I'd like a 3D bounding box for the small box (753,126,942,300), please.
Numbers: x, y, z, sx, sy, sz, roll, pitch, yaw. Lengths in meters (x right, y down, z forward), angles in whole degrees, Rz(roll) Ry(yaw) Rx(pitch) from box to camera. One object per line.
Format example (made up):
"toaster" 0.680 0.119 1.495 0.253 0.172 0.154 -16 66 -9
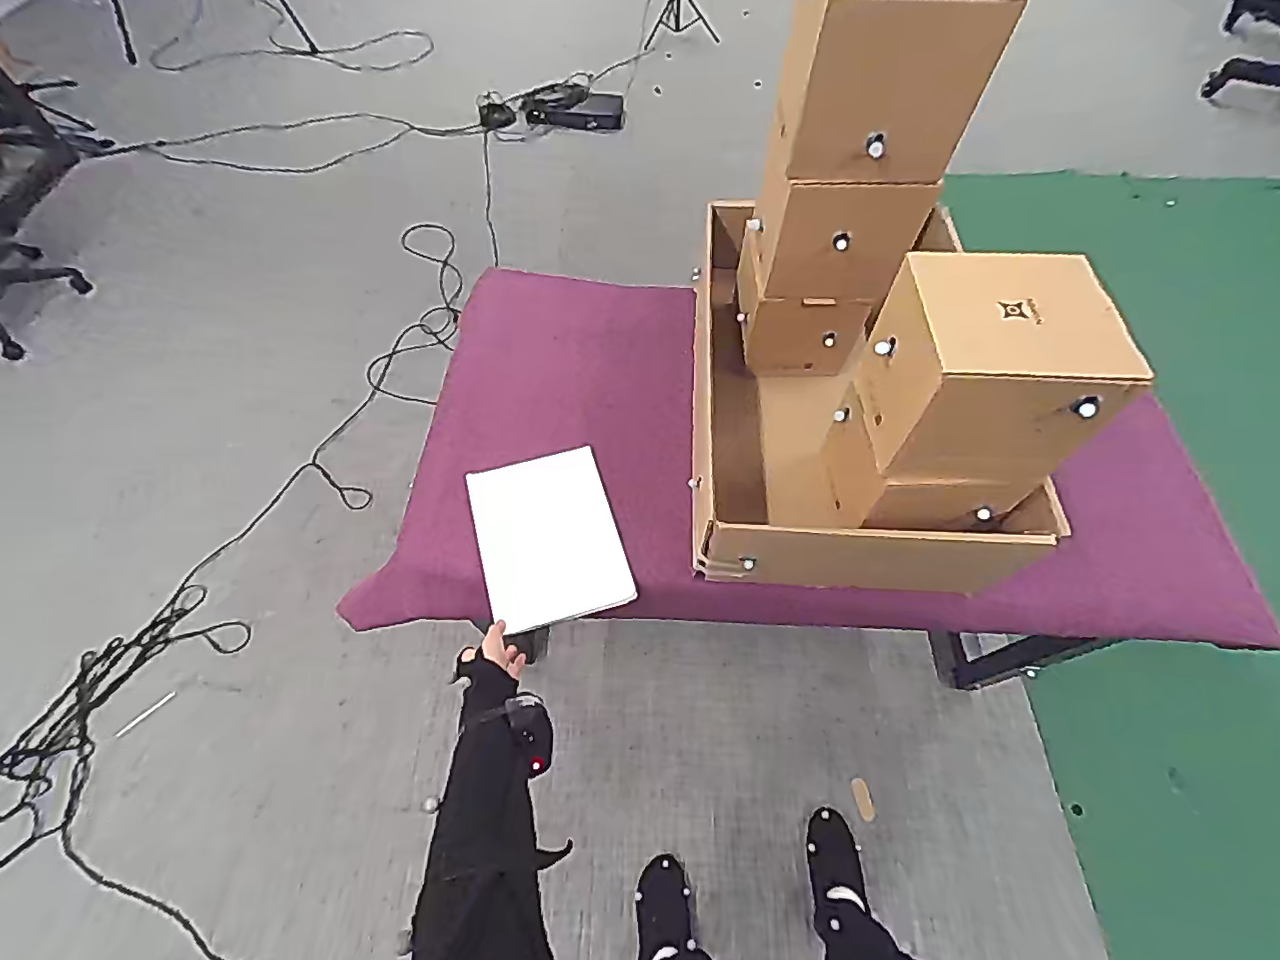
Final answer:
"small box" 0.258 -0.358 0.720 0.179 0.176 0.168 0 60 1

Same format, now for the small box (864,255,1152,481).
"small box" 0.351 -0.111 0.566 0.179 0.176 0.168 3 58 2

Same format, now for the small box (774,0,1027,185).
"small box" 0.255 -0.444 0.580 0.179 0.176 0.168 3 60 1
